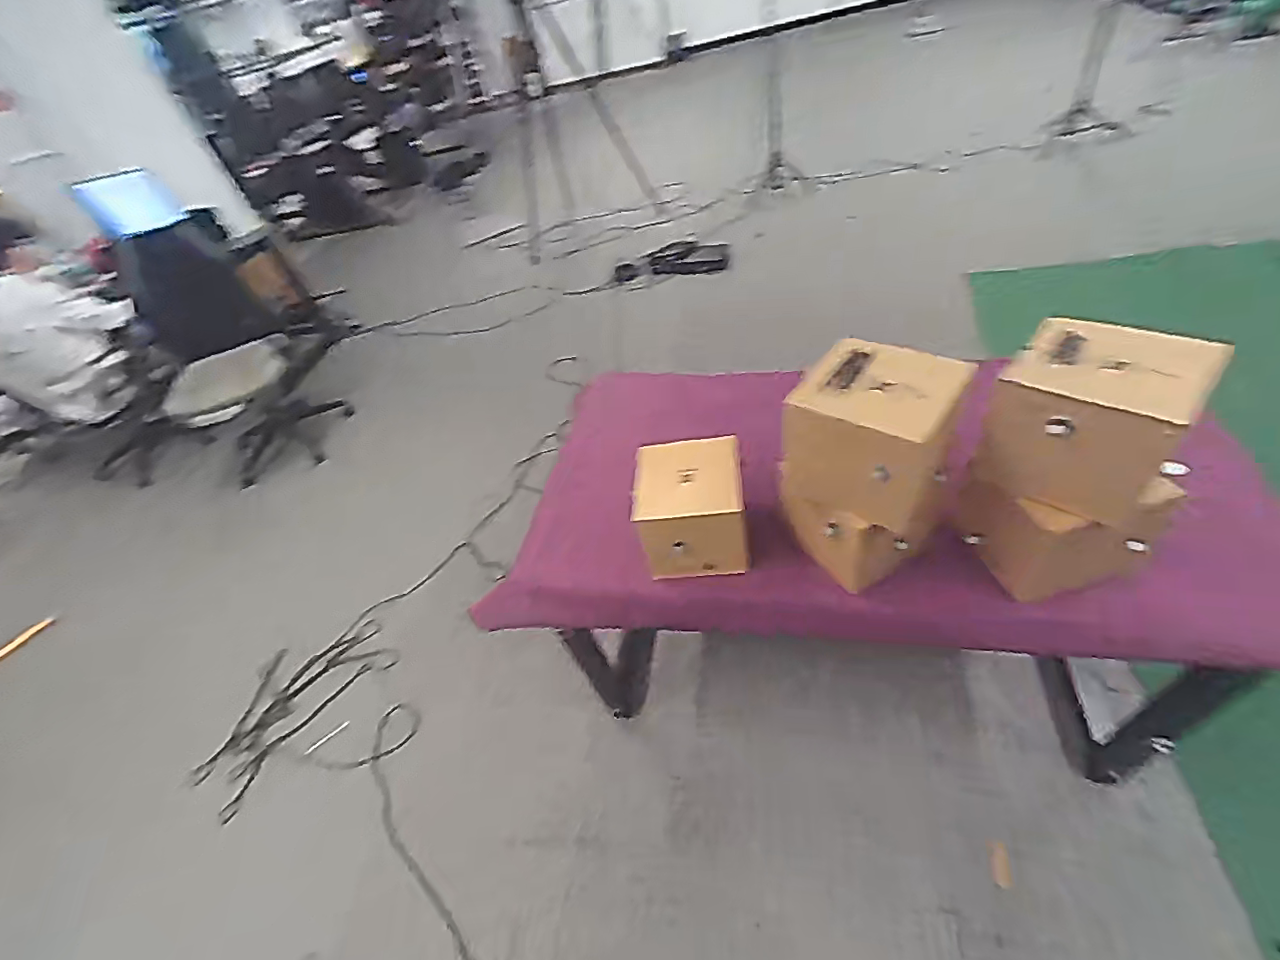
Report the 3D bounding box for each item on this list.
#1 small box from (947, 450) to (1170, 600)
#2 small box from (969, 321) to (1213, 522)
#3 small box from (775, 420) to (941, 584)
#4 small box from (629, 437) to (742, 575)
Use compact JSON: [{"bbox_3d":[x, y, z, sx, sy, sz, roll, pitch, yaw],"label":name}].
[{"bbox_3d":[0.588,0.047,0.792,0.179,0.176,0.168,-17,43,0],"label":"small box"},{"bbox_3d":[0.554,-0.075,0.688,0.168,0.176,0.179,-40,48,-24],"label":"small box"},{"bbox_3d":[0.339,0.042,0.869,0.168,0.176,0.179,-28,45,-12],"label":"small box"},{"bbox_3d":[0.084,0.052,0.936,0.168,0.176,0.179,-6,44,11],"label":"small box"}]
